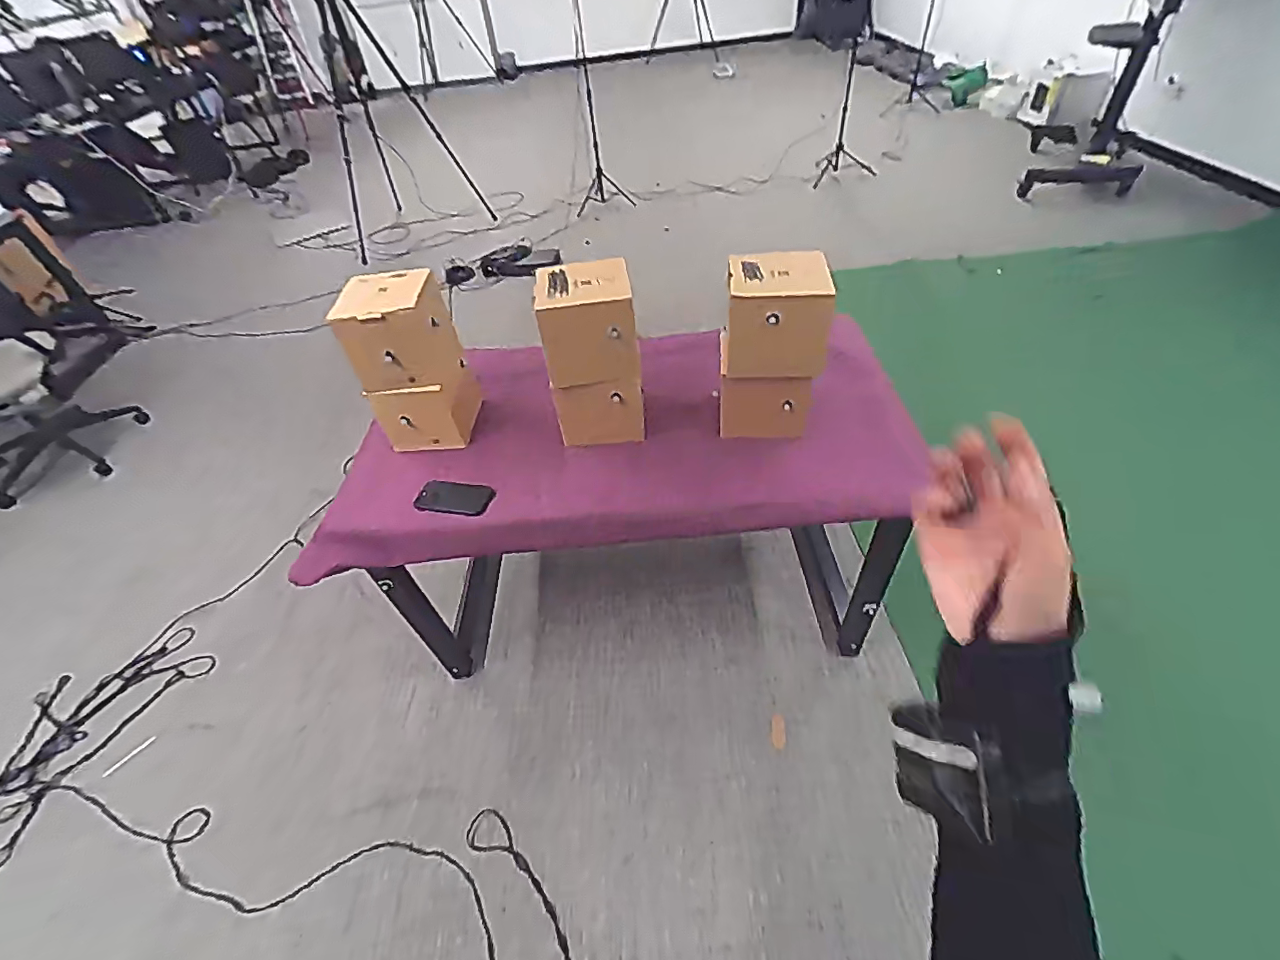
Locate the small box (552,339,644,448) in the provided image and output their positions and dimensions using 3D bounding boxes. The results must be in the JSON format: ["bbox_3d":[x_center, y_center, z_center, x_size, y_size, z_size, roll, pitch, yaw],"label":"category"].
[{"bbox_3d":[-0.081,-0.185,1.170,0.179,0.176,0.168,-3,46,4],"label":"small box"}]

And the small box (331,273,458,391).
[{"bbox_3d":[-0.485,-0.294,1.100,0.168,0.176,0.179,-7,46,0],"label":"small box"}]

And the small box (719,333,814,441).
[{"bbox_3d":[0.258,-0.195,1.138,0.179,0.176,0.168,0,46,9],"label":"small box"}]

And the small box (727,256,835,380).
[{"bbox_3d":[0.251,-0.299,1.010,0.179,0.176,0.168,1,46,7],"label":"small box"}]

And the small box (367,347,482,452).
[{"bbox_3d":[-0.470,-0.174,1.212,0.168,0.176,0.179,-3,46,4],"label":"small box"}]
